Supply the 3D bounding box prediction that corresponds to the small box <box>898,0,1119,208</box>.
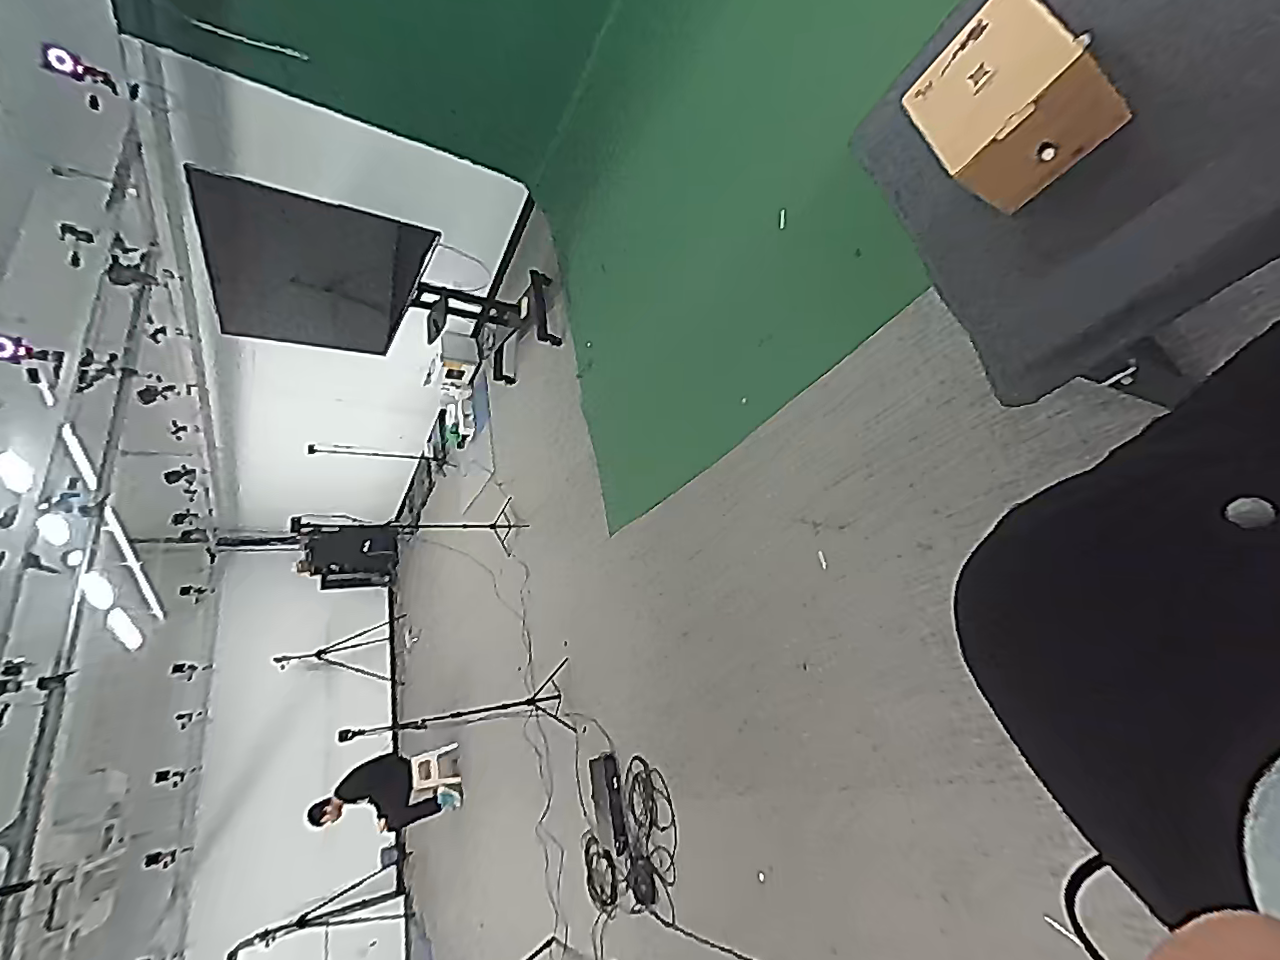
[{"bbox_3d":[0.505,-0.510,0.748,0.168,0.176,0.179,-41,55,46],"label":"small box"}]
